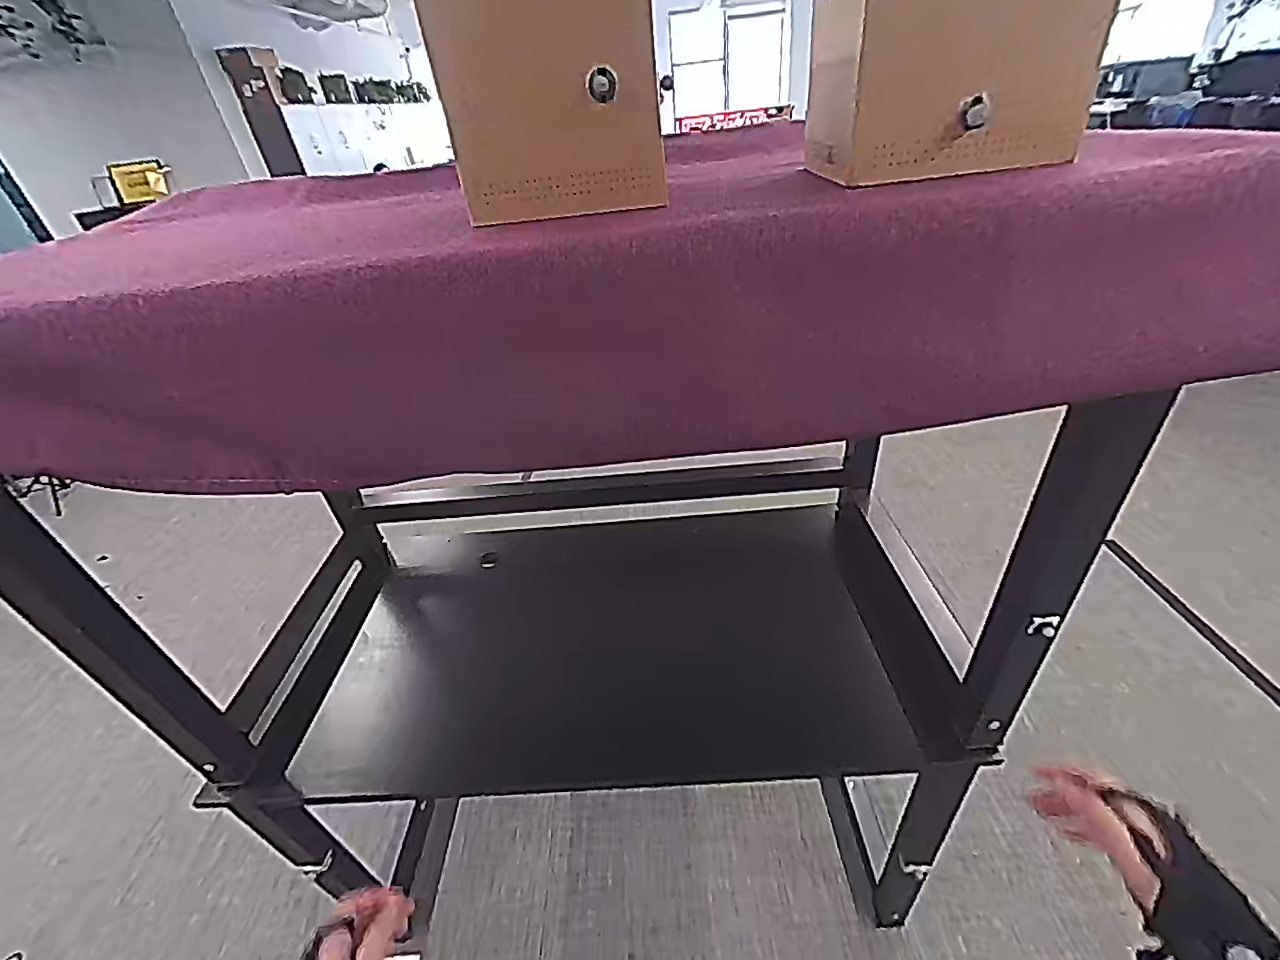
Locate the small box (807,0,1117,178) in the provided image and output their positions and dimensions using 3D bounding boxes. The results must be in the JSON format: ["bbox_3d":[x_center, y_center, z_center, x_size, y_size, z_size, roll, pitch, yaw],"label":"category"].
[{"bbox_3d":[0.247,-0.360,0.443,0.179,0.176,0.168,-4,34,5],"label":"small box"}]

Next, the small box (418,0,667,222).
[{"bbox_3d":[-0.066,-0.345,0.487,0.179,0.176,0.168,-5,34,5],"label":"small box"}]
